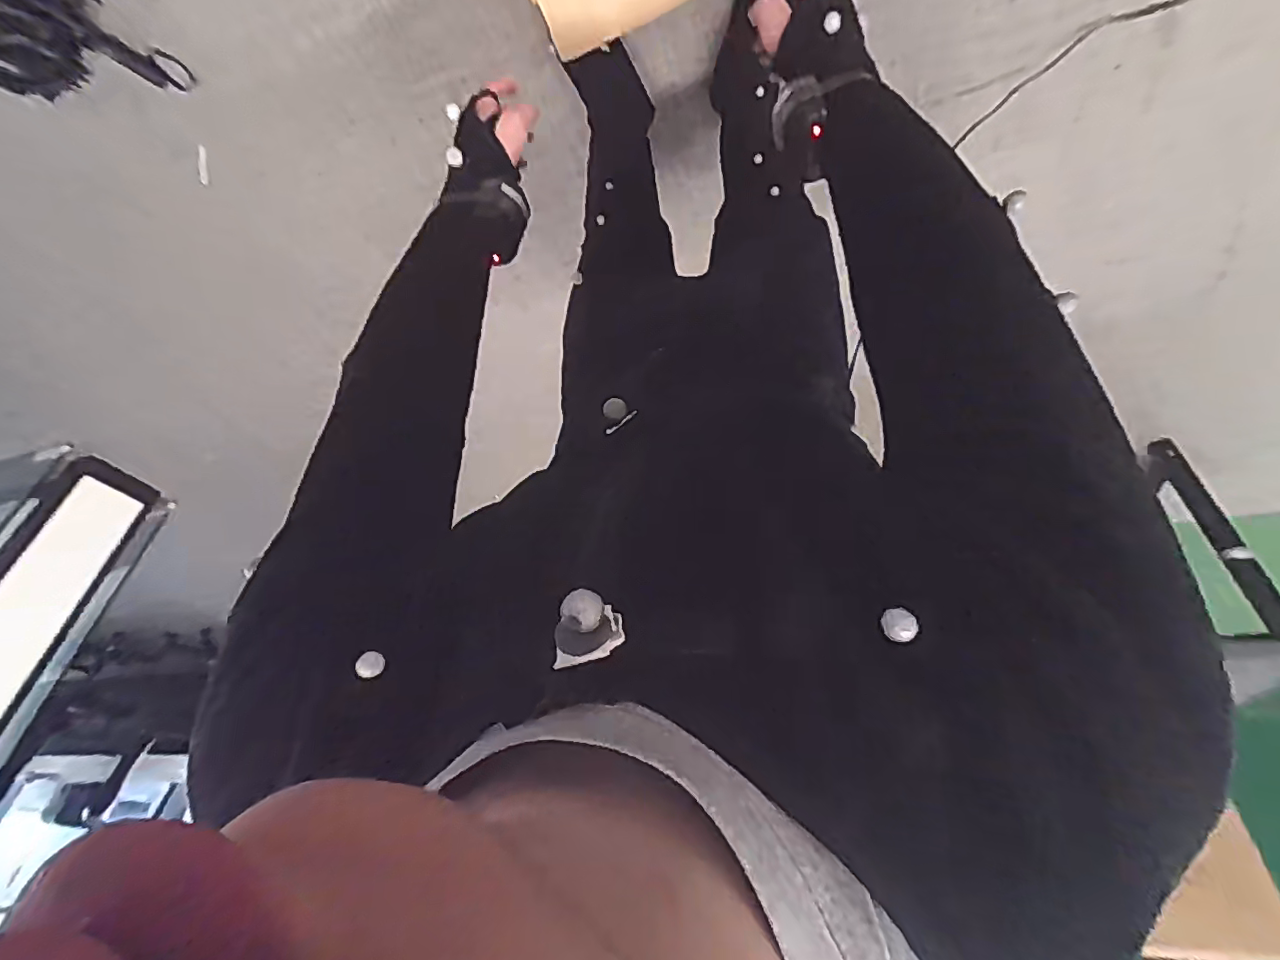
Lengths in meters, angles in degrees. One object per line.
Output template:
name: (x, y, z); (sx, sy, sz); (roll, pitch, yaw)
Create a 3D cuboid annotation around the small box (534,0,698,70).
small box: (-0.035, -0.619, 0.612); (0.179, 0.176, 0.168); (-10, 141, 22)
